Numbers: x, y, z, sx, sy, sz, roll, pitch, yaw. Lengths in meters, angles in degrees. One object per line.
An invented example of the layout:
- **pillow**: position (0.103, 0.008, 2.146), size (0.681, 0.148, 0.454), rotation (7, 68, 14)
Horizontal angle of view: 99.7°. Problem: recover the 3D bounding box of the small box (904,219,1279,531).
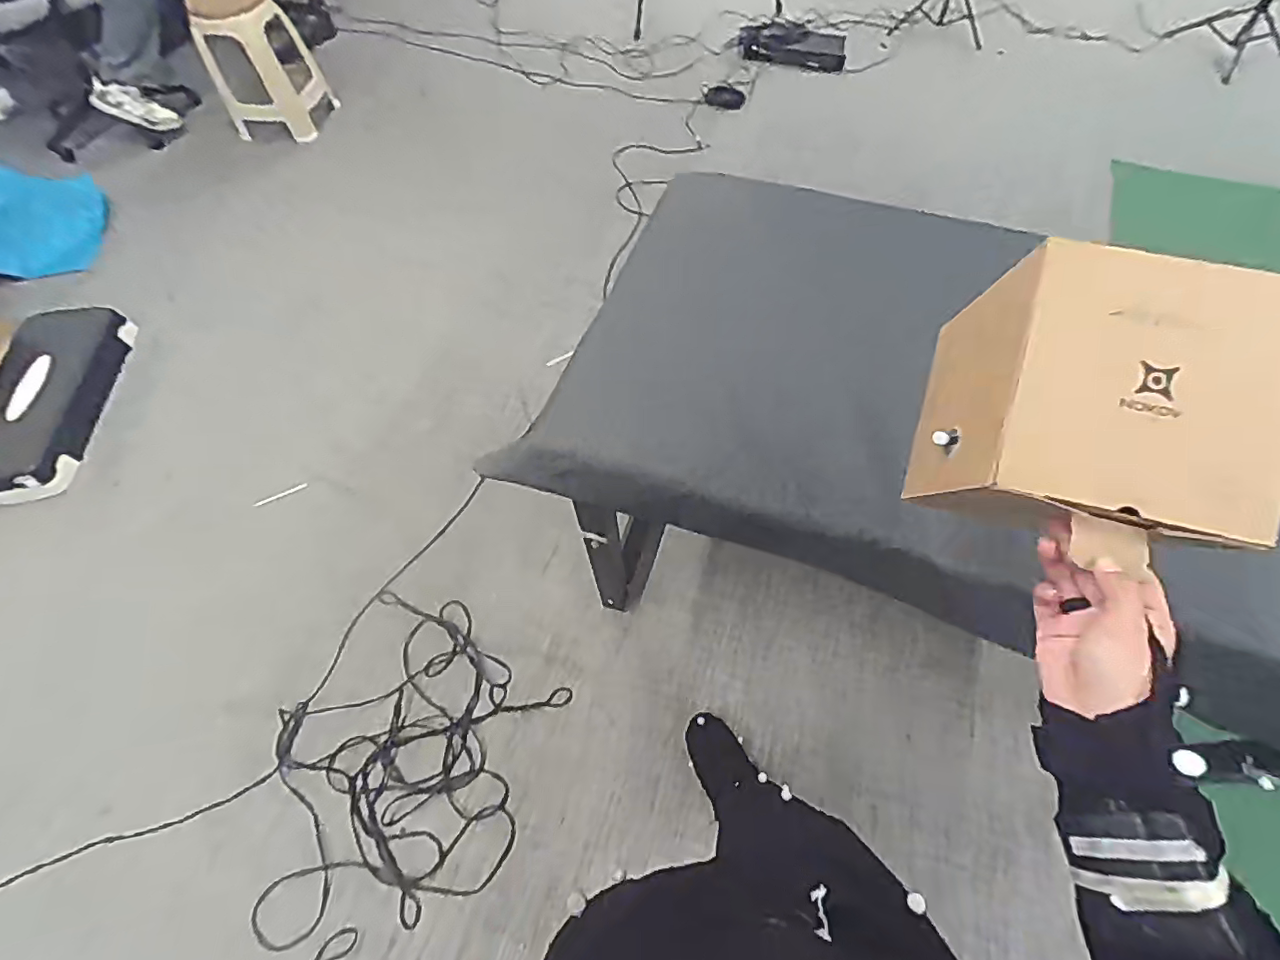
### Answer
- **small box**: position (0.329, -0.062, 0.421), size (0.168, 0.176, 0.179), rotation (14, 85, 6)
